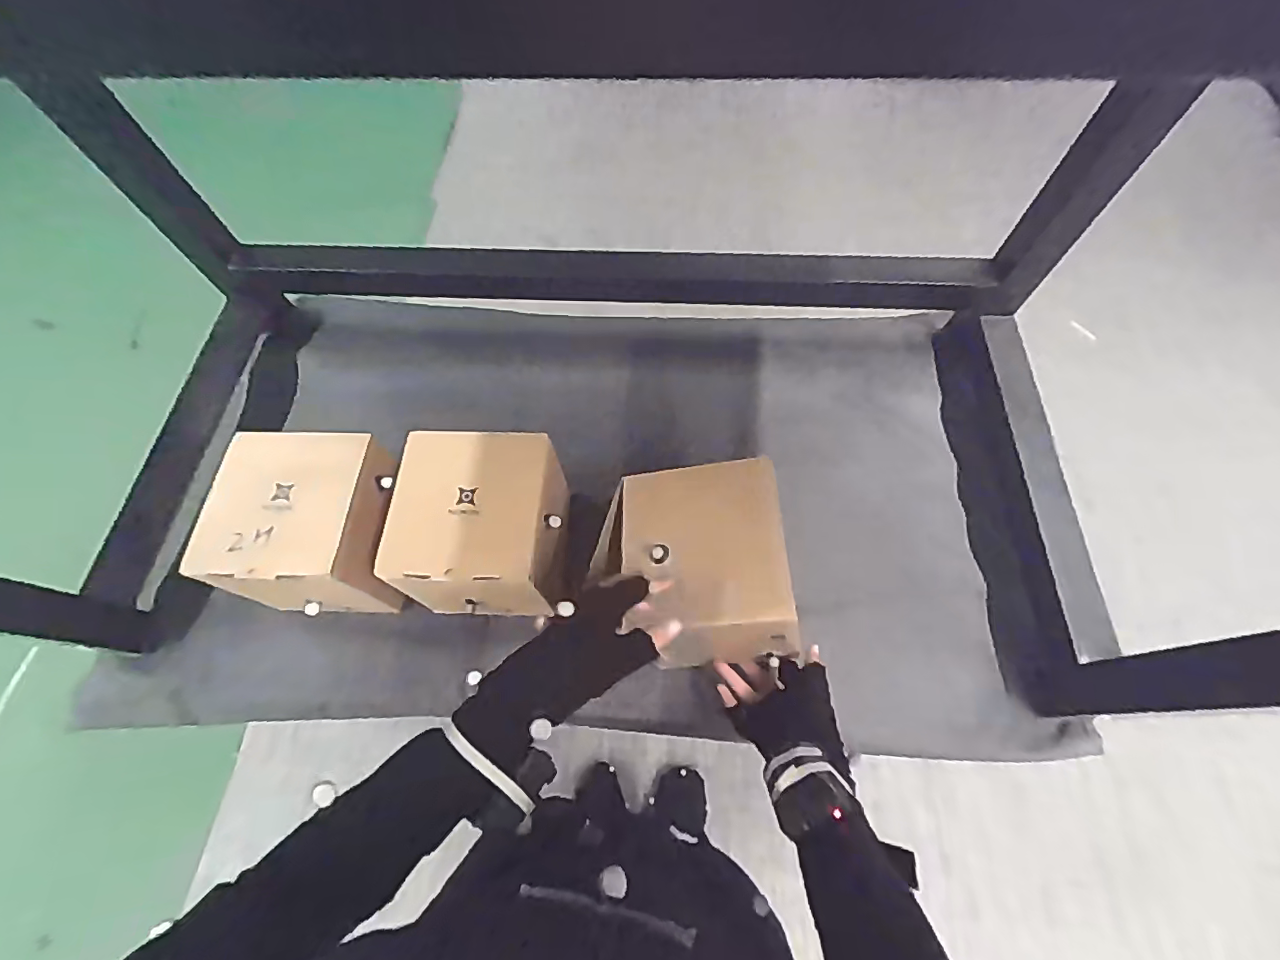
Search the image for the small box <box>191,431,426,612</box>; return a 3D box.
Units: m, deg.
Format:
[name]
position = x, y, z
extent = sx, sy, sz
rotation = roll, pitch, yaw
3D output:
[small box]
position = -0.388, 0.056, 0.674
extent = 0.168, 0.176, 0.179
rotation = 1, 64, 3
